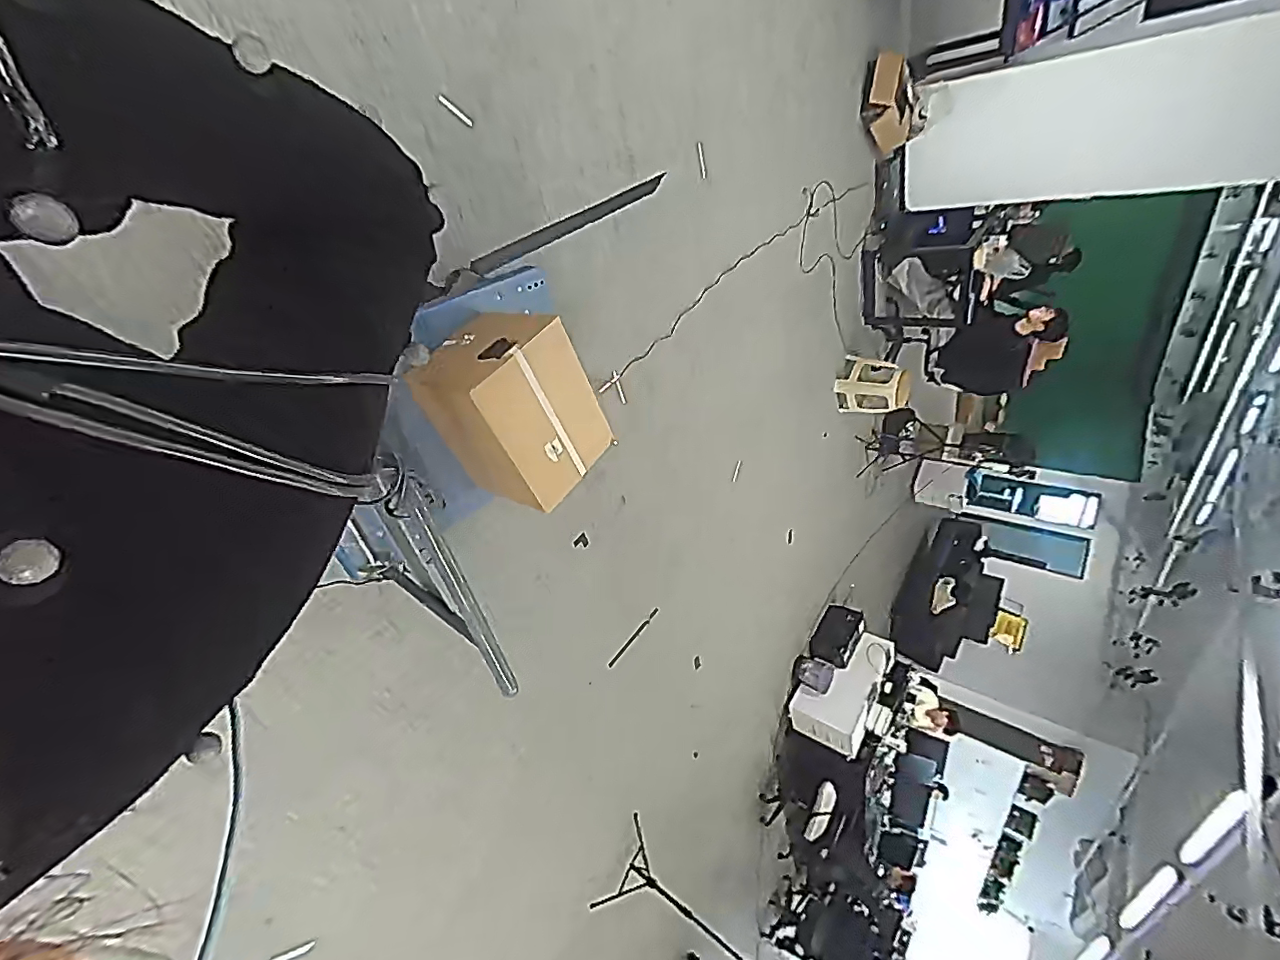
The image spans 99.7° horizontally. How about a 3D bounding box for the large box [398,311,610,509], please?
[{"bbox_3d":[-0.345,-0.194,1.443,0.320,0.320,0.408,-50,137,-28],"label":"large box"}]
